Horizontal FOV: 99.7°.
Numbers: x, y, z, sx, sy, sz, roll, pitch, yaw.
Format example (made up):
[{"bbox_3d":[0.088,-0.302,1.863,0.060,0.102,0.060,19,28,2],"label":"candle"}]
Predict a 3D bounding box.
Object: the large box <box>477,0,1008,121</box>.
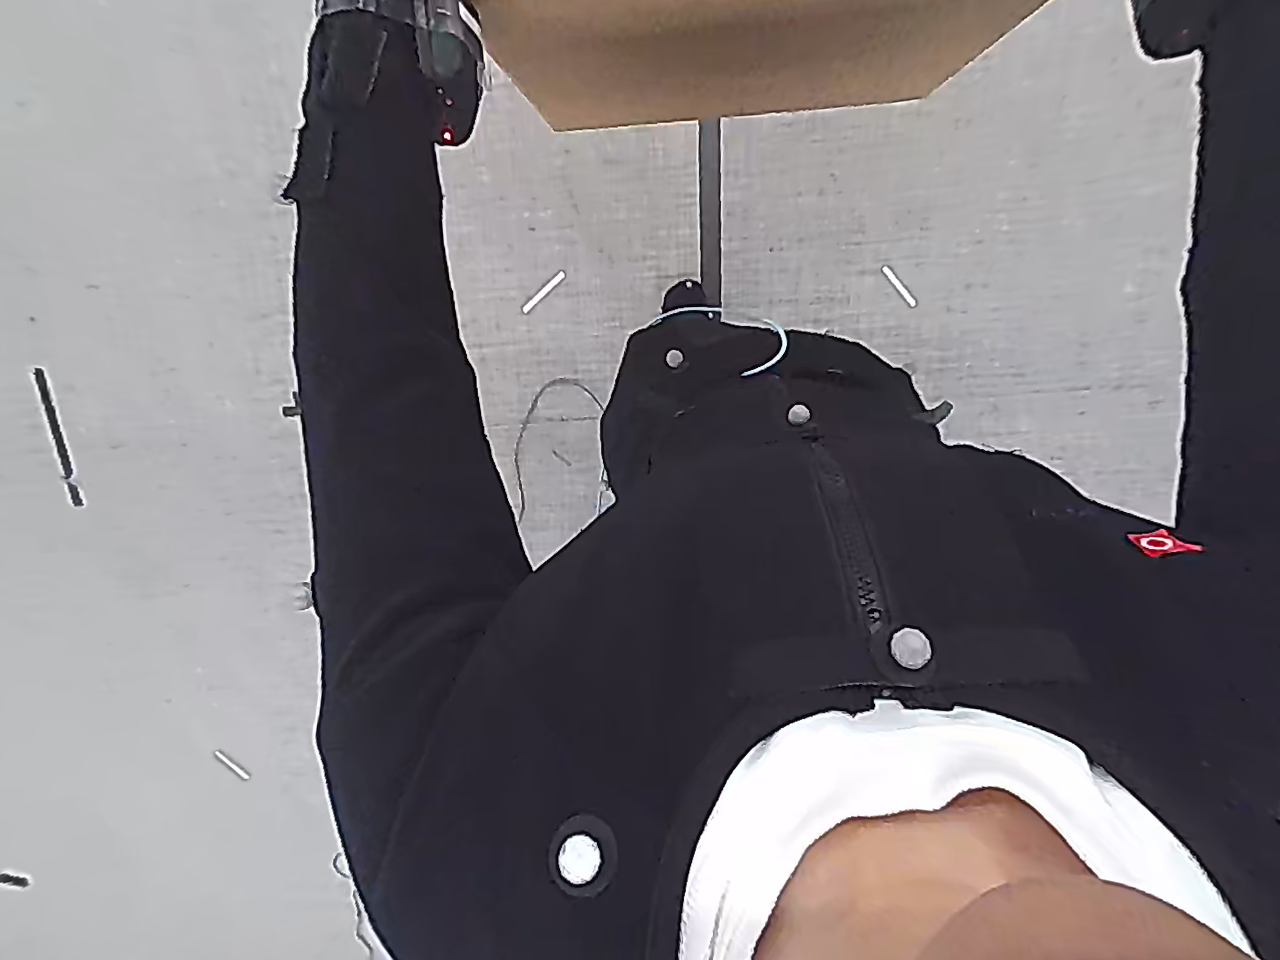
[{"bbox_3d":[0.080,-0.505,0.402,0.408,0.320,0.320,-3,110,4],"label":"large box"}]
